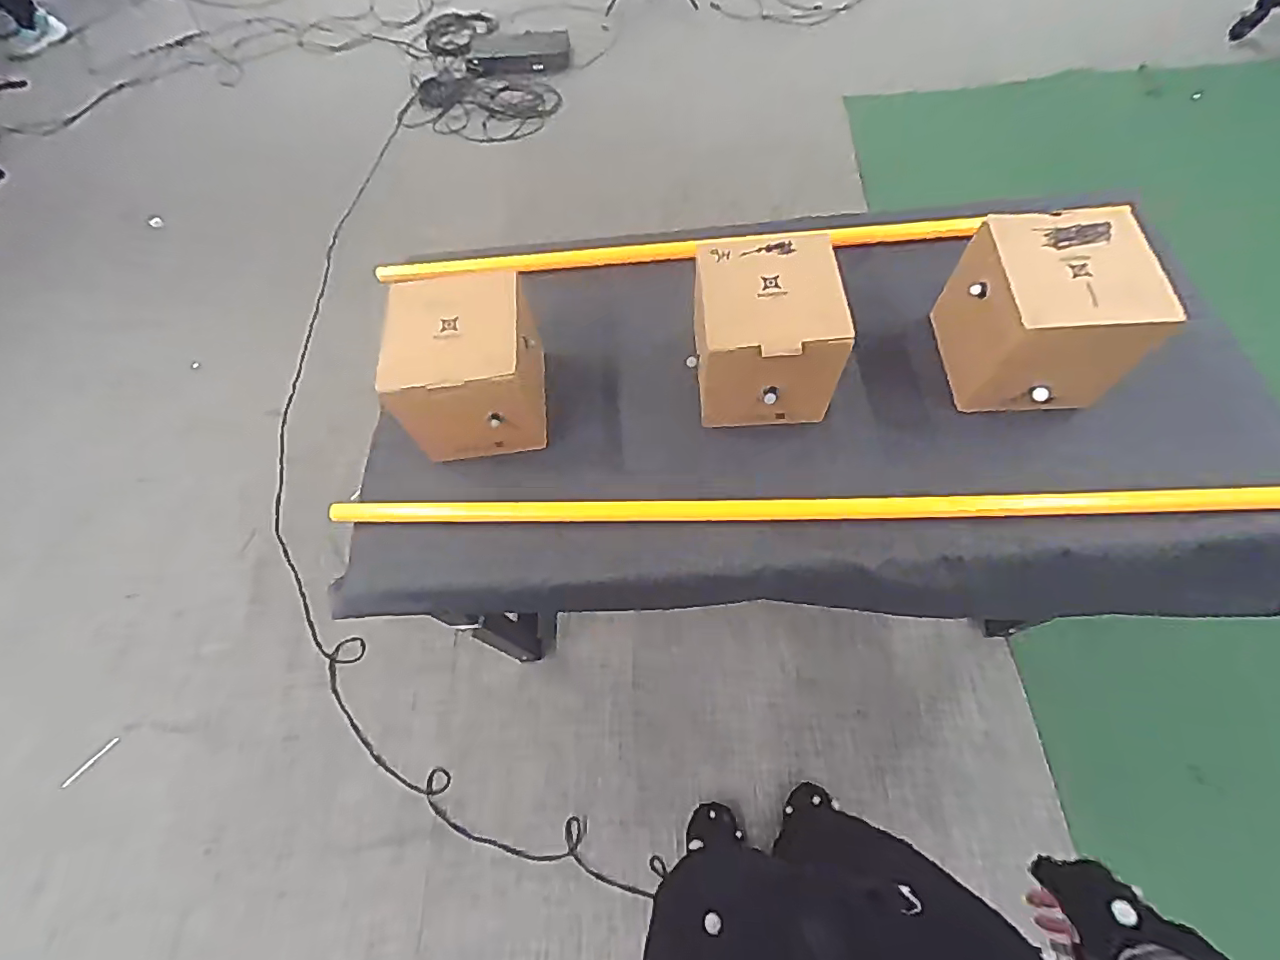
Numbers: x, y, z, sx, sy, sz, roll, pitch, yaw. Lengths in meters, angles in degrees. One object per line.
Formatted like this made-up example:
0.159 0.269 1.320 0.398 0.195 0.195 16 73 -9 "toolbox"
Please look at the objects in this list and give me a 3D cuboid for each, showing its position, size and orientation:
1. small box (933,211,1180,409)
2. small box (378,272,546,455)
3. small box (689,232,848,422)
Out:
0.502 -0.209 0.690 0.168 0.176 0.179 -2 64 5 "small box"
-0.225 -0.146 0.730 0.168 0.176 0.179 -7 62 0 "small box"
0.158 -0.190 0.717 0.168 0.176 0.179 -6 62 4 "small box"
